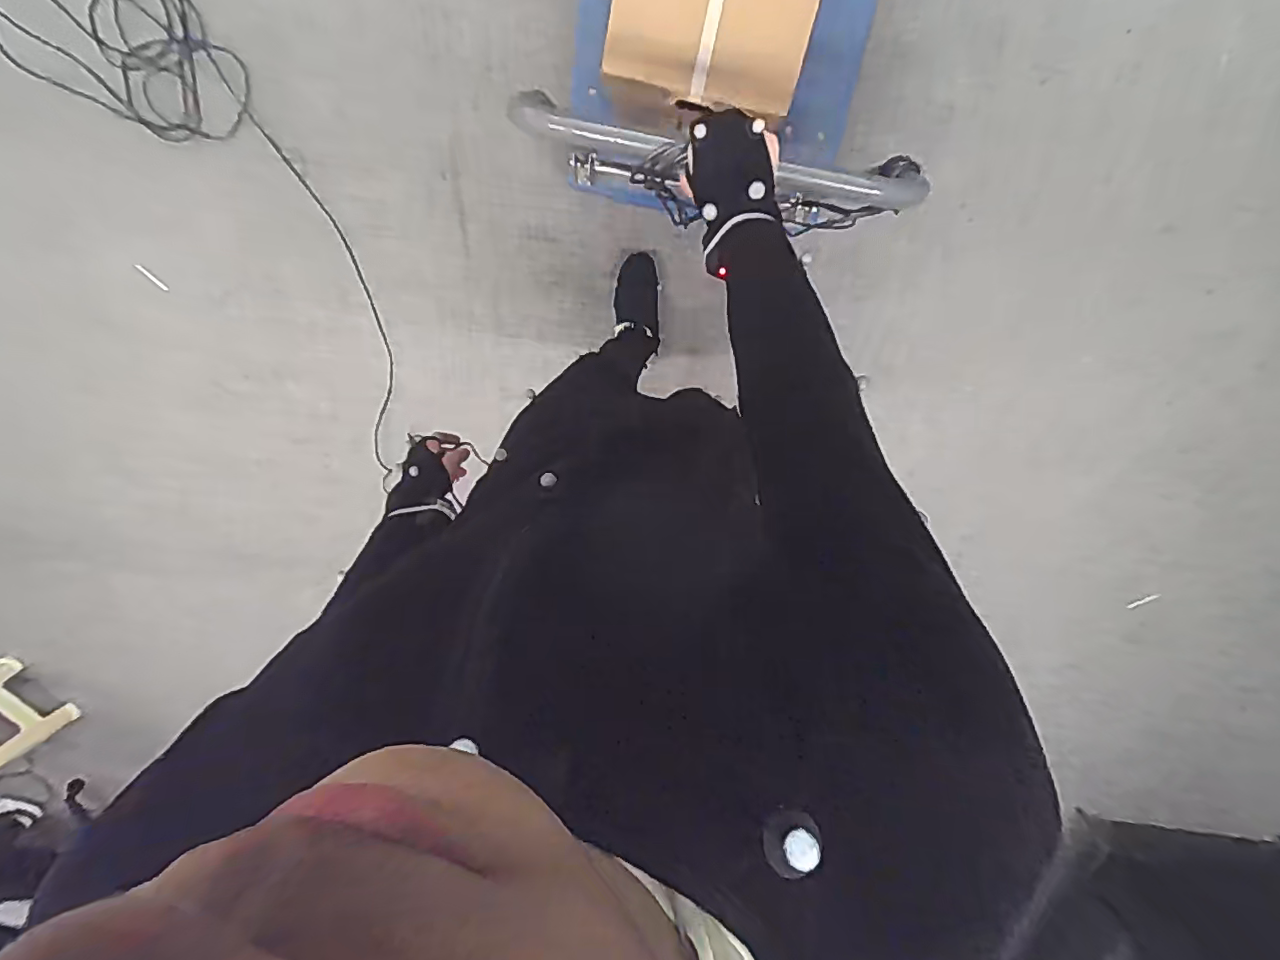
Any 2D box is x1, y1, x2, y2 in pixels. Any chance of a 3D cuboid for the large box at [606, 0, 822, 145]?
[{"bbox_3d":[0.143,-0.857,0.926,0.320,0.320,0.408,13,113,-3],"label":"large box"}]
